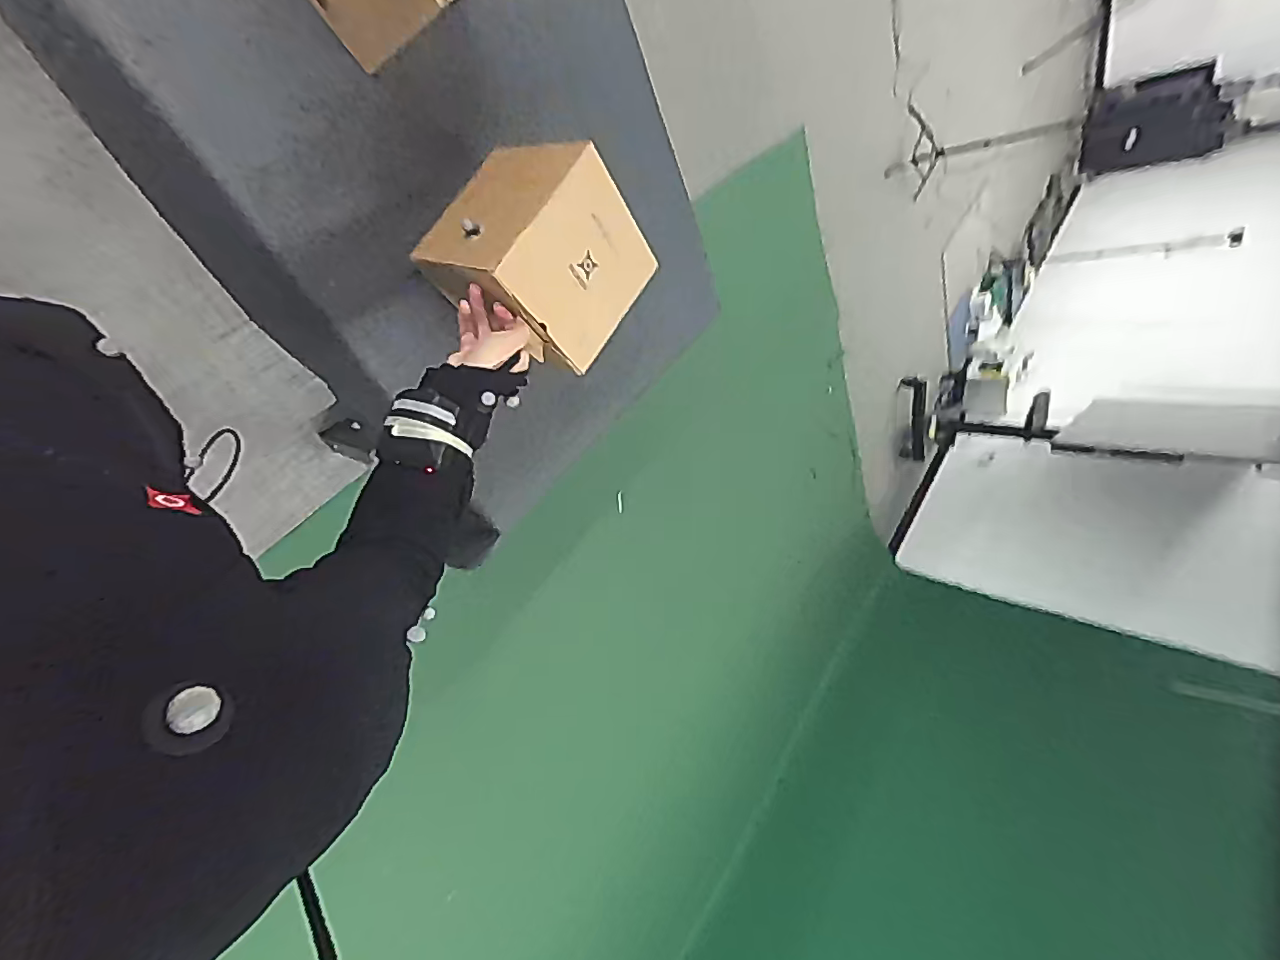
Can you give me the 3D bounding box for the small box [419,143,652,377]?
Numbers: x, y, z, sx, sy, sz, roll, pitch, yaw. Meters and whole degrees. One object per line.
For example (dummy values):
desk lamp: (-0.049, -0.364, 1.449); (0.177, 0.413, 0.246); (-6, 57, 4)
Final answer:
small box: (-0.123, -0.252, 0.625); (0.179, 0.176, 0.168); (-58, 145, -10)
